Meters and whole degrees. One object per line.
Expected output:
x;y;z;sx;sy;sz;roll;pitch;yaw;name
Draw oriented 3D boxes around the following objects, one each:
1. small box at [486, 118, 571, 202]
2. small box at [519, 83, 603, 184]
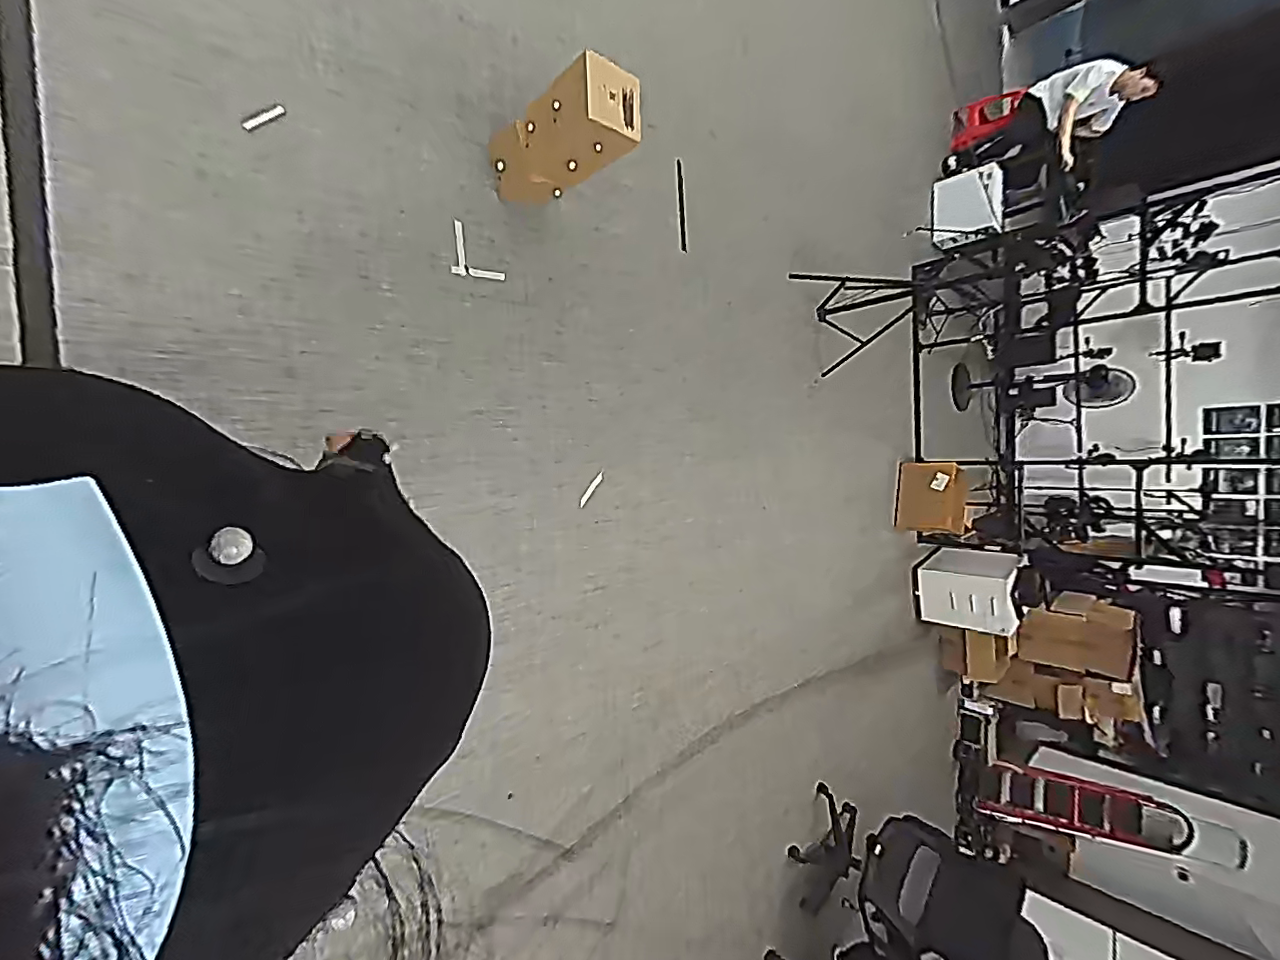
-0.342;-0.973;1.663;0.179;0.176;0.168;-21;104;-41;small box
-0.226;-0.979;1.548;0.179;0.176;0.168;-5;94;-43;small box
